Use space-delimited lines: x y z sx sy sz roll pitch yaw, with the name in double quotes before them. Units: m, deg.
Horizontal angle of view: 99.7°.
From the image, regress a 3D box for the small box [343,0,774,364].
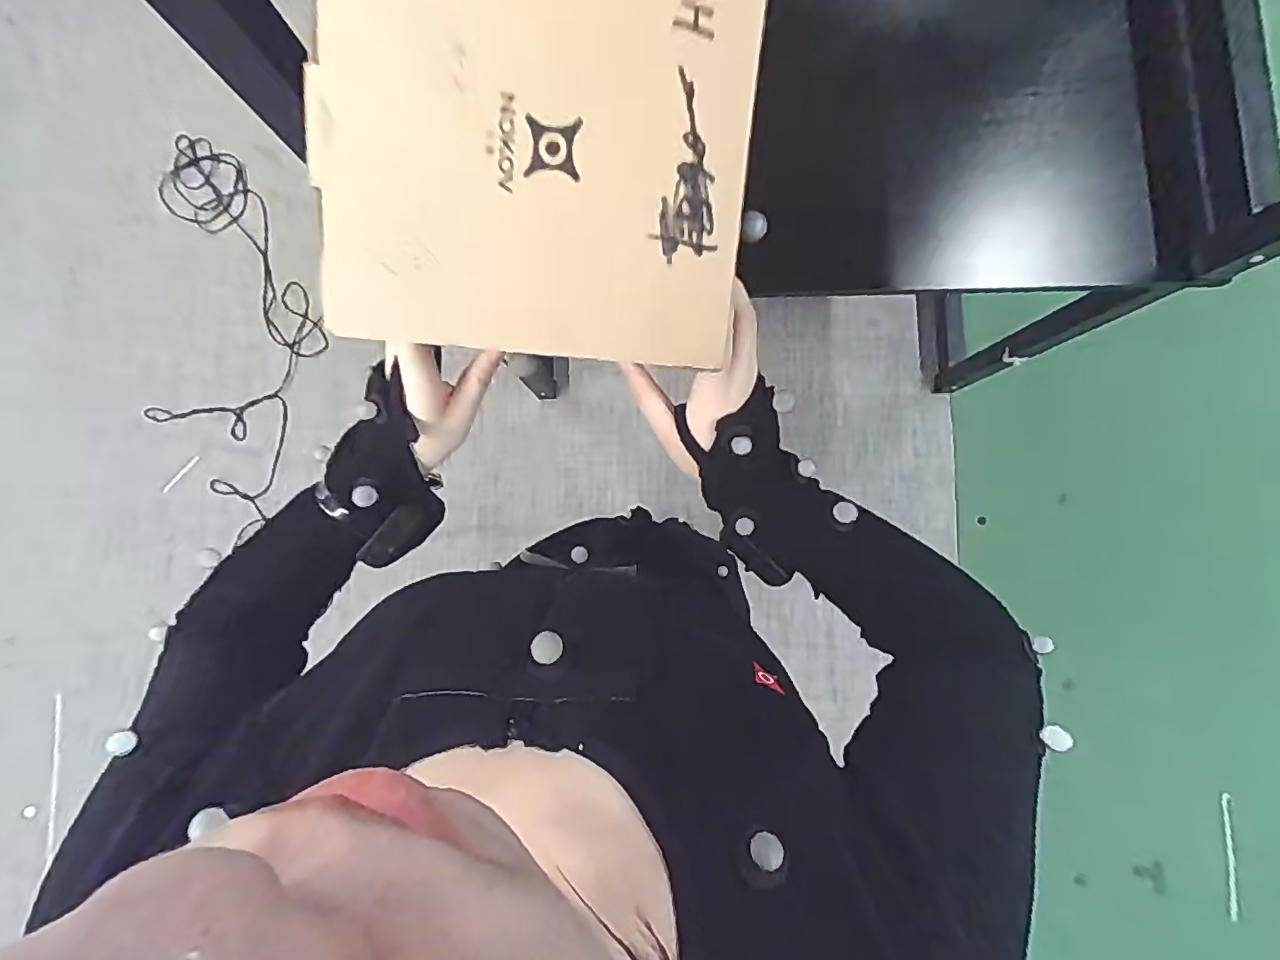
"small box" -0.037 -0.158 0.307 0.179 0.176 0.168 6 104 0
